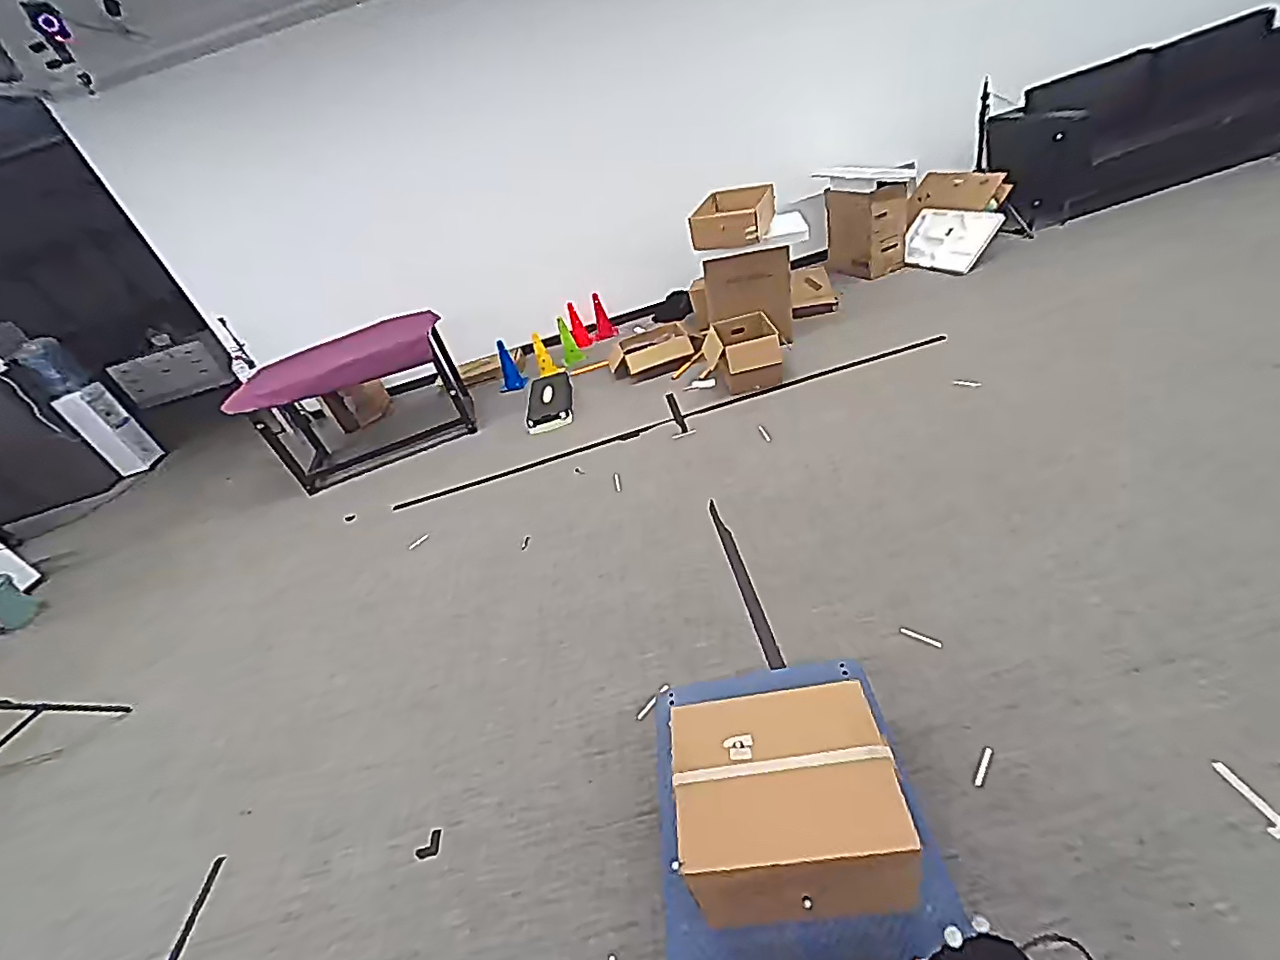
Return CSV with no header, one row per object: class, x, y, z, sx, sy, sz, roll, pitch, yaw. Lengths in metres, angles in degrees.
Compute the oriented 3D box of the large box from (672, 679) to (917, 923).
large box,0.305,0.668,1.125,0.408,0.320,0.320,-14,34,9
